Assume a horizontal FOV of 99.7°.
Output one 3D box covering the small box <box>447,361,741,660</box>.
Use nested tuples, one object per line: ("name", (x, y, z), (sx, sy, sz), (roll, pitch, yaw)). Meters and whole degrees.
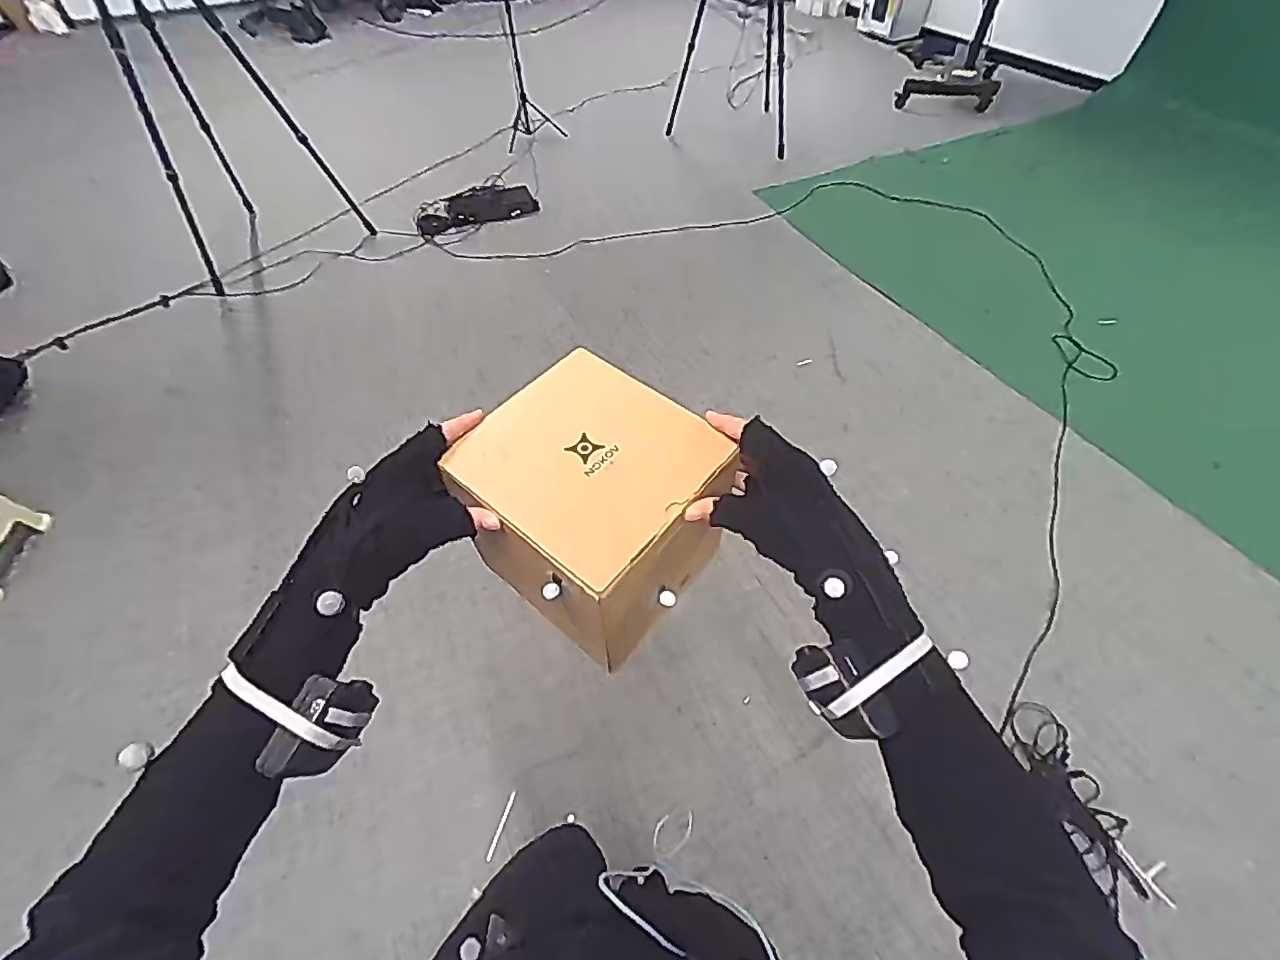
("small box", (-0.037, 0.032, 0.489), (0.179, 0.176, 0.168), (35, 61, 21))
